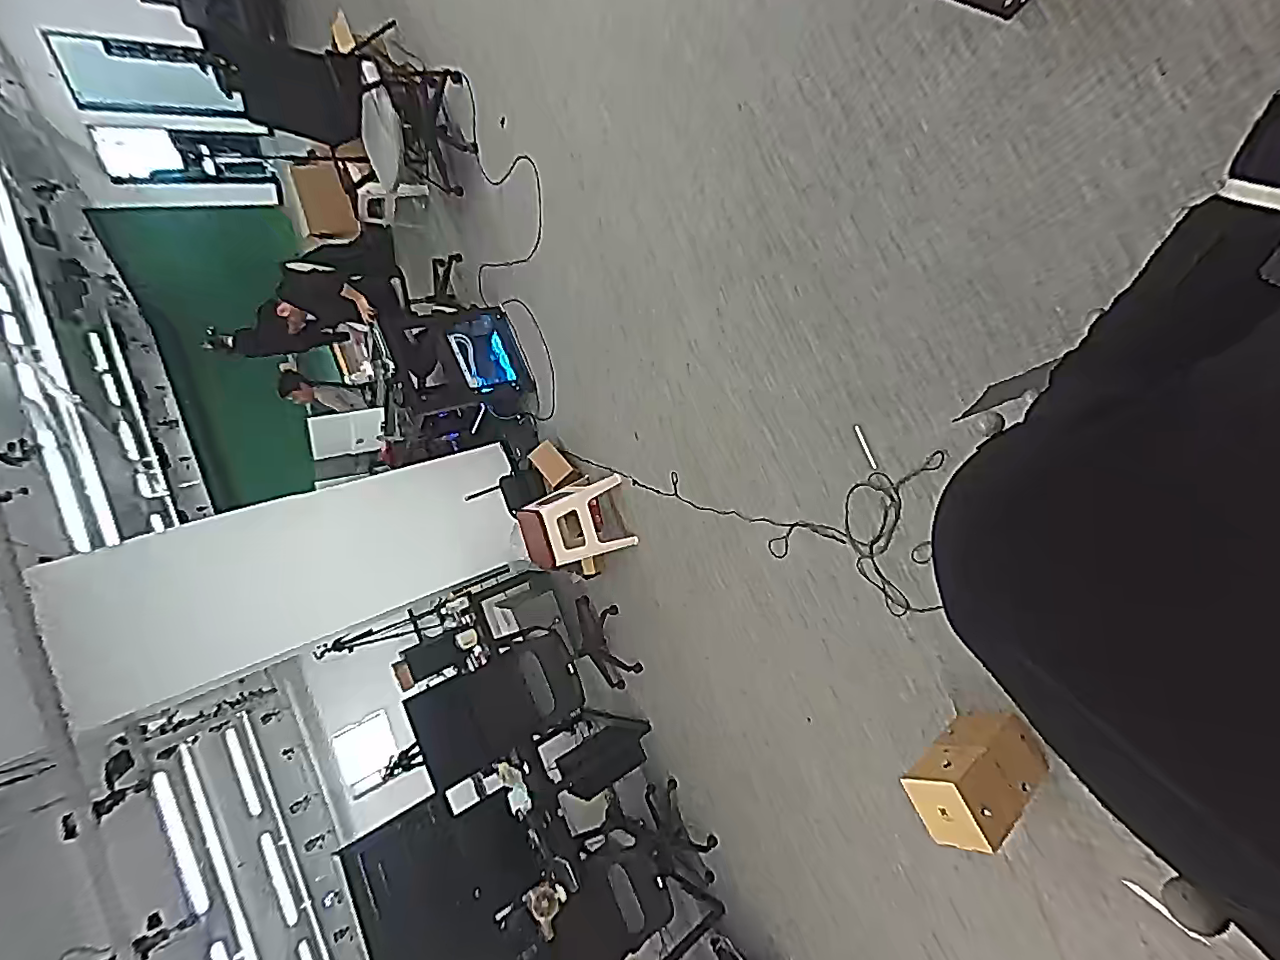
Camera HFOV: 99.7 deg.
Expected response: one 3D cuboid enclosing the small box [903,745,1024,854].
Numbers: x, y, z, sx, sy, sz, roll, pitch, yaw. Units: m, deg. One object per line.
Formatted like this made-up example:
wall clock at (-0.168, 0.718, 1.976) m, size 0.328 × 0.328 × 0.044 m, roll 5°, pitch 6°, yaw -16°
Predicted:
small box at (0.825, 0.803, 1.381) m, size 0.179 × 0.176 × 0.168 m, roll 62°, pitch 148°, yaw 11°
